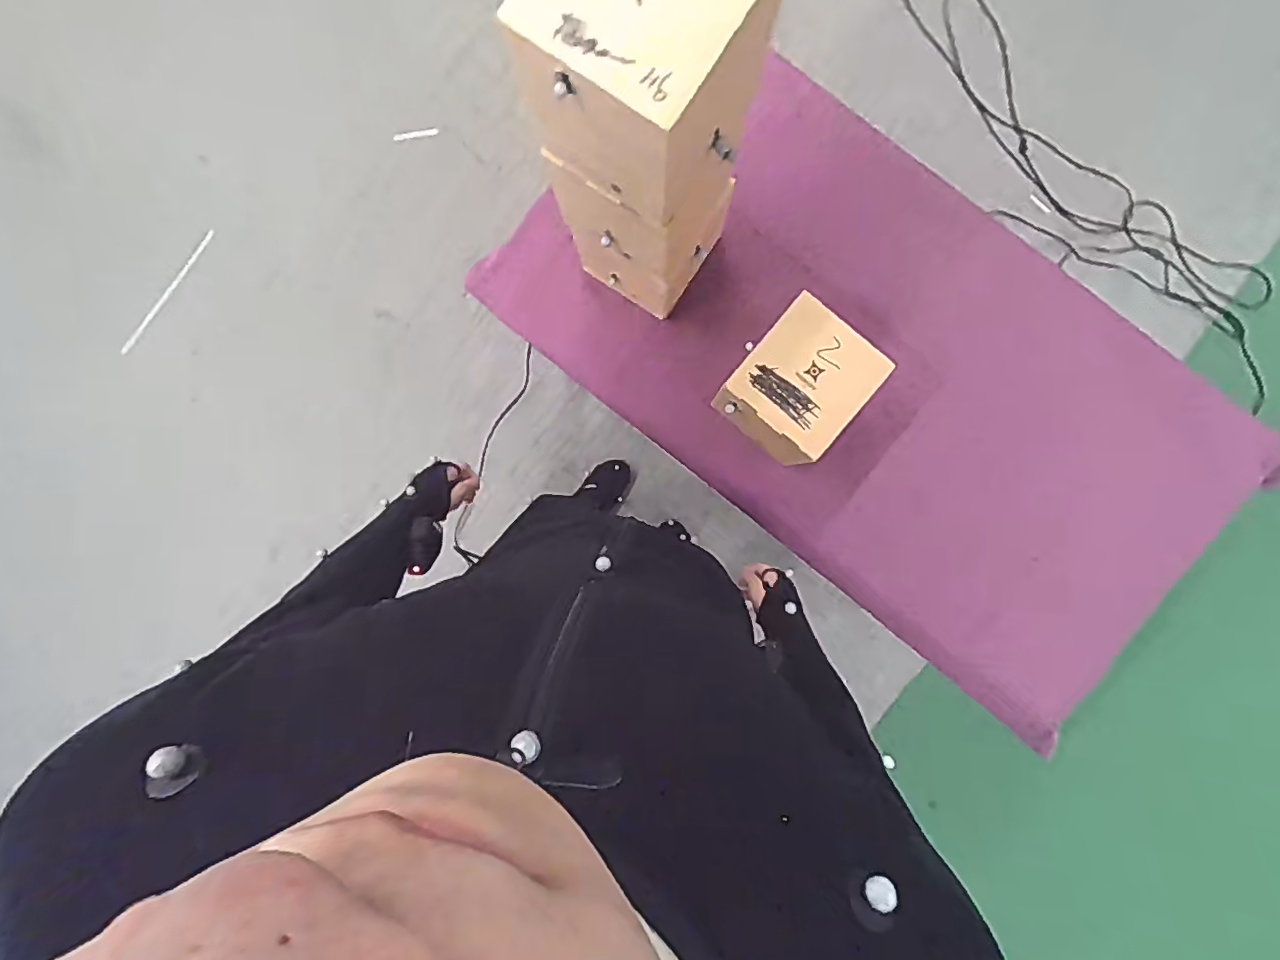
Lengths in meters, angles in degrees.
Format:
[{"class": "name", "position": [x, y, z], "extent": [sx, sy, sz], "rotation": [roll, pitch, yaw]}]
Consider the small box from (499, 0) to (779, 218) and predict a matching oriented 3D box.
[{"class": "small box", "position": [0.006, -0.385, 0.488], "extent": [0.168, 0.176, 0.179], "rotation": [35, 91, 1]}]

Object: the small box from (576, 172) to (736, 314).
[{"class": "small box", "position": [0.019, -0.385, 0.816], "extent": [0.168, 0.176, 0.179], "rotation": [33, 92, 1]}]

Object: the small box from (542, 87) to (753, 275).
[{"class": "small box", "position": [0.009, -0.386, 0.652], "extent": [0.168, 0.176, 0.179], "rotation": [33, 92, 1]}]
